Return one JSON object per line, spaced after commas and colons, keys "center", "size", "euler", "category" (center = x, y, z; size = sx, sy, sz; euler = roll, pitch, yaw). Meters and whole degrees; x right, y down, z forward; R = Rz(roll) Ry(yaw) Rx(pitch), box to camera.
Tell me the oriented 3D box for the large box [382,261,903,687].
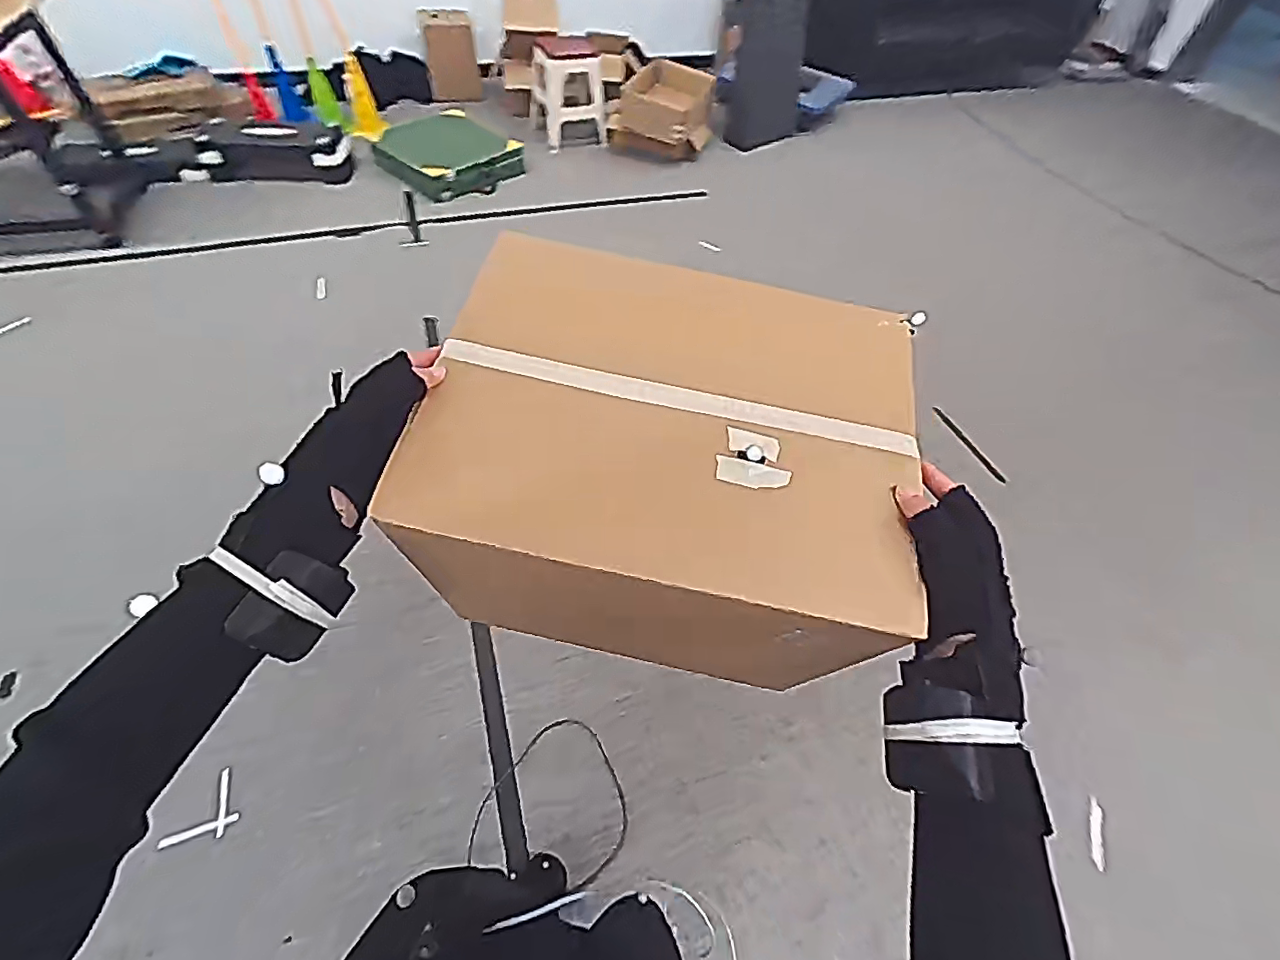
{"center": [0.010, 0.017, 0.600], "size": [0.408, 0.320, 0.320], "euler": [12, 62, 0], "category": "large box"}
